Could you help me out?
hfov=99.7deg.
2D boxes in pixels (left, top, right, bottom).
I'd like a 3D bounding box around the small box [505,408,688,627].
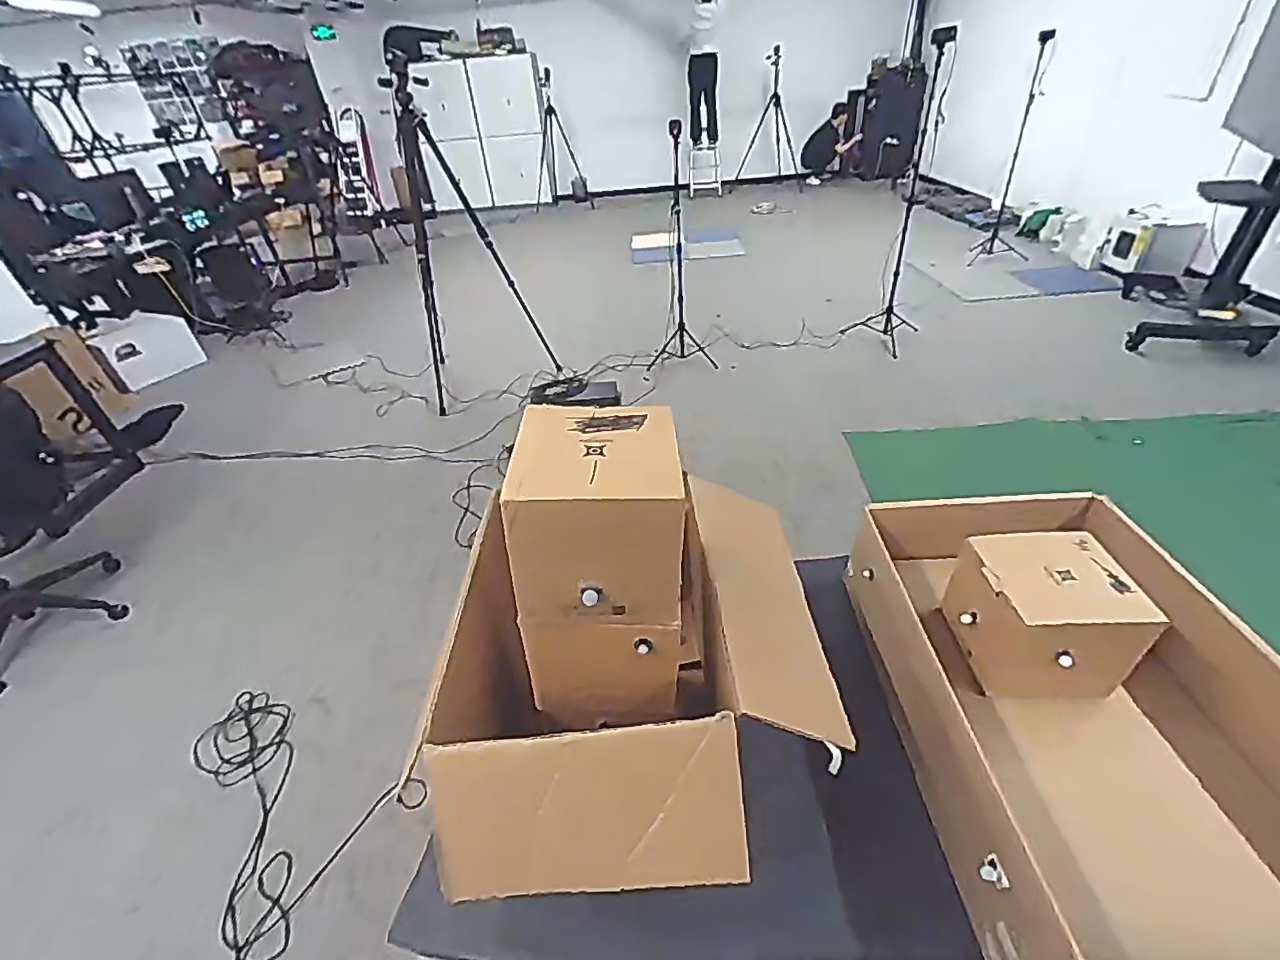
[{"bbox_3d":[-0.041,0.036,0.588,0.168,0.176,0.179,0,36,-1],"label":"small box"}]
